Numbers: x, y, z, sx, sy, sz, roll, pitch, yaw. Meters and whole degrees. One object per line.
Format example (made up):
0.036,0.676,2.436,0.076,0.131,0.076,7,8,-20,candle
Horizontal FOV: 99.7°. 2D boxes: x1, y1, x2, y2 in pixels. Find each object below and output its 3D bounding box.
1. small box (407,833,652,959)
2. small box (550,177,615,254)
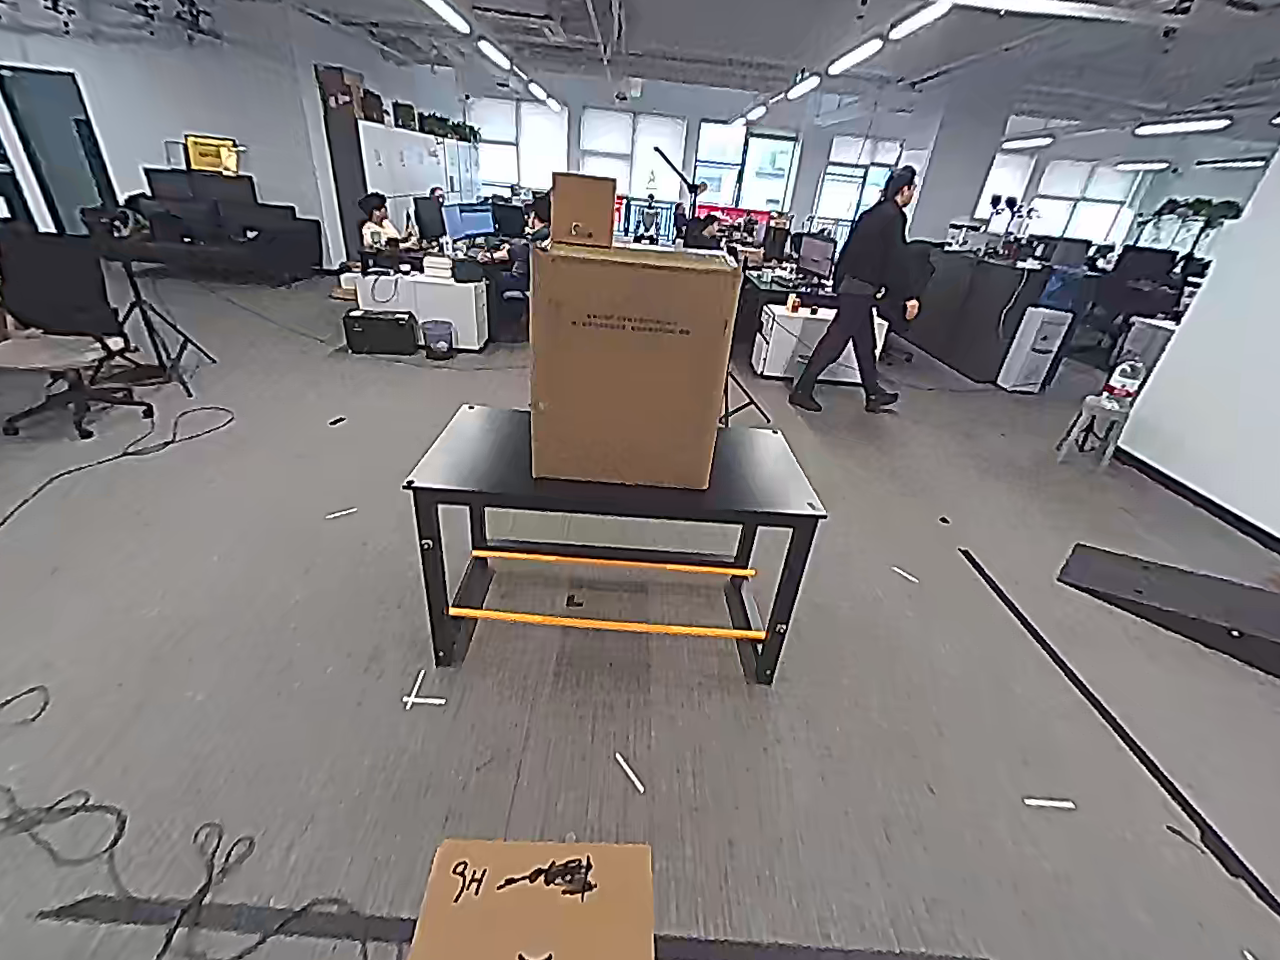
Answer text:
-0.078,0.391,0.401,0.168,0.176,0.179,3,38,-3,small box
-0.156,-0.721,1.474,0.168,0.176,0.179,2,28,-4,small box
